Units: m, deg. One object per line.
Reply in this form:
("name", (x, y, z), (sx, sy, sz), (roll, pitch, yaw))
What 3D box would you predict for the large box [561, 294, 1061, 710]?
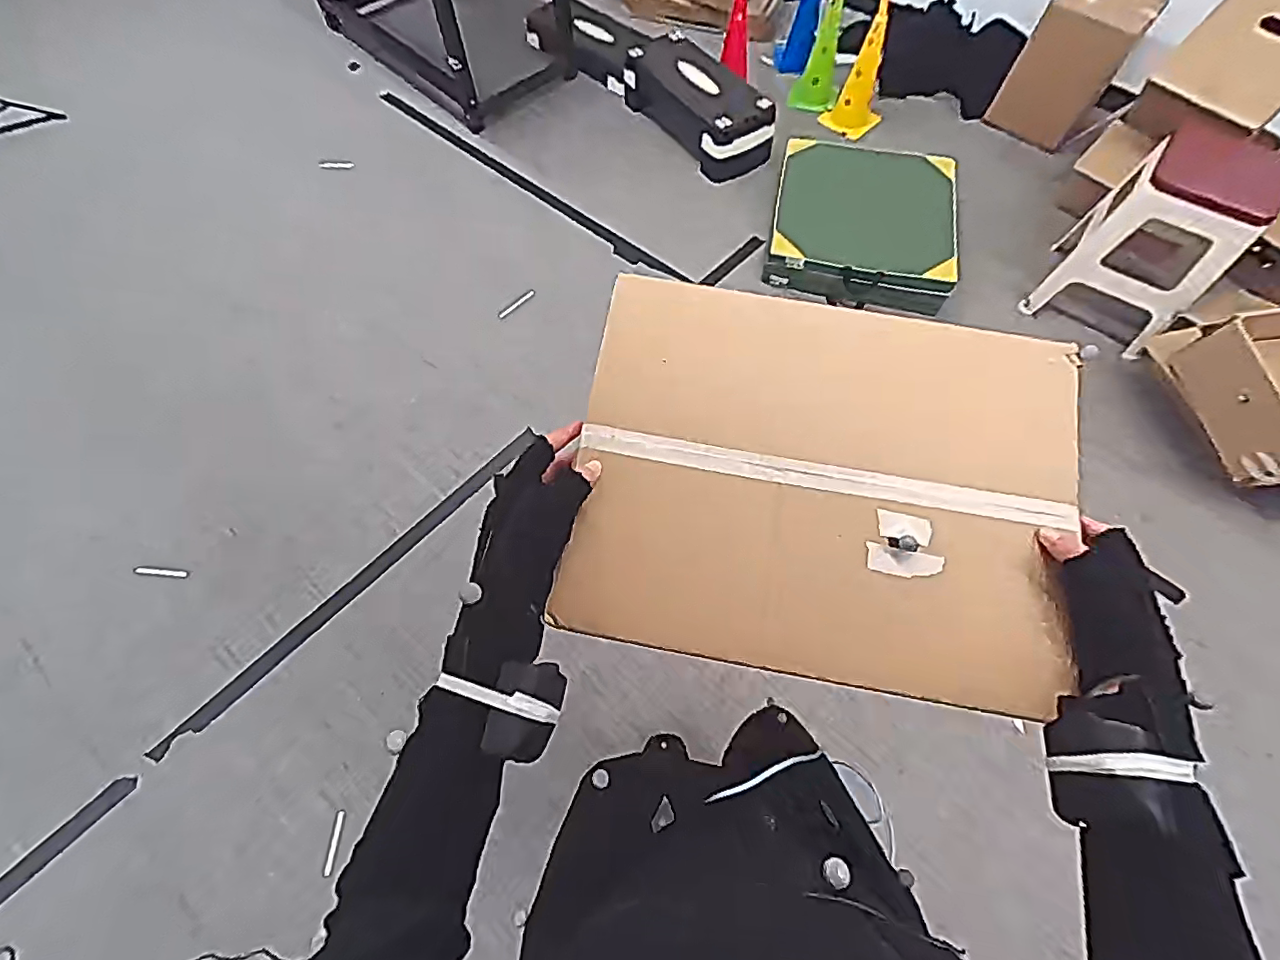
("large box", (0.153, 0.035, 0.607), (0.408, 0.320, 0.320), (10, 79, 3))
